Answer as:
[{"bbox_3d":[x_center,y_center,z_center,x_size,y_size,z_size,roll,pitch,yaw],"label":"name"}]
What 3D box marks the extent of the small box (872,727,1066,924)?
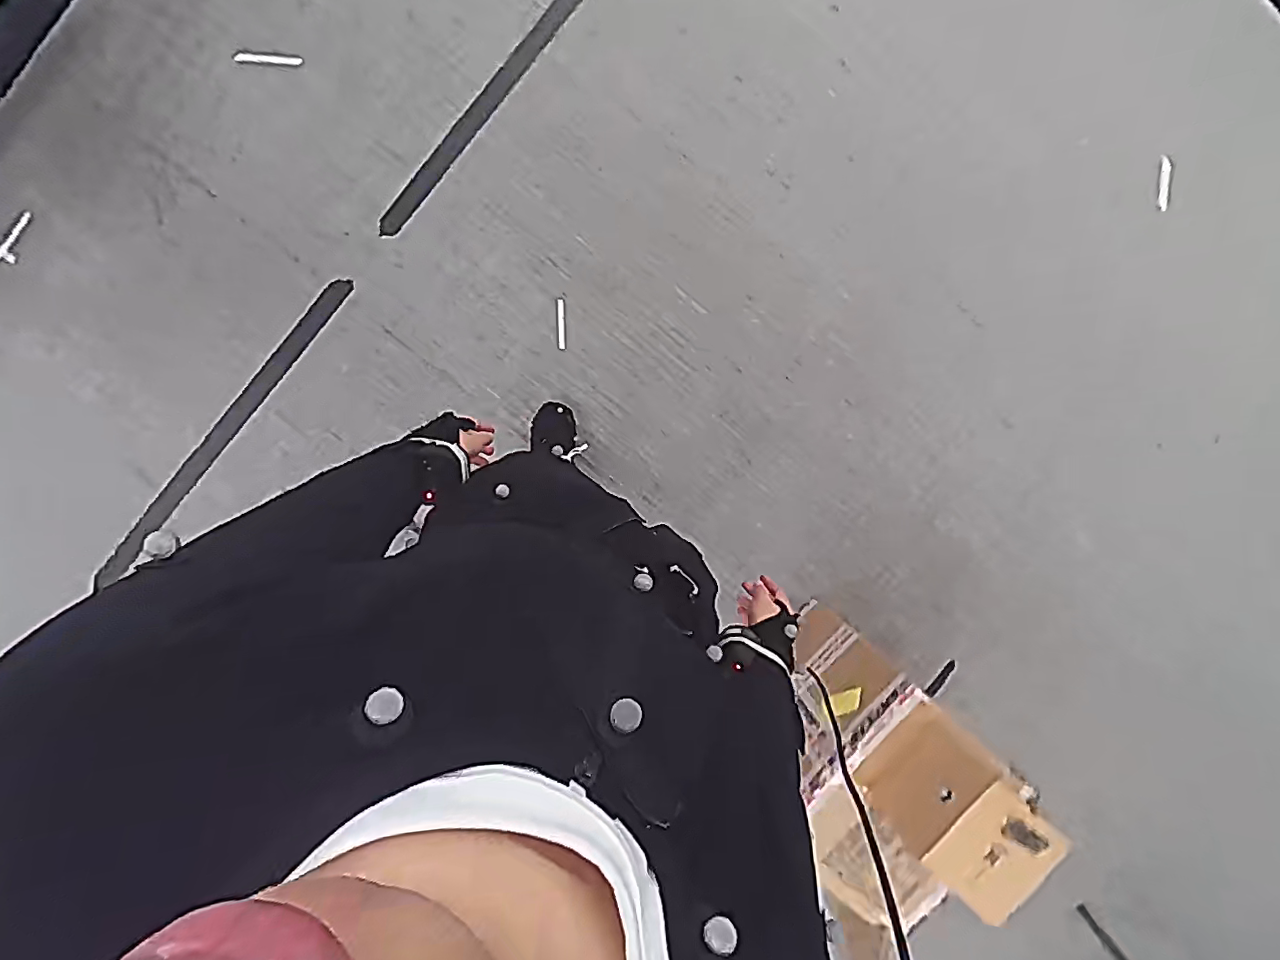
[{"bbox_3d":[0.524,0.551,0.889,0.168,0.176,0.179,42,92,-4],"label":"small box"}]
